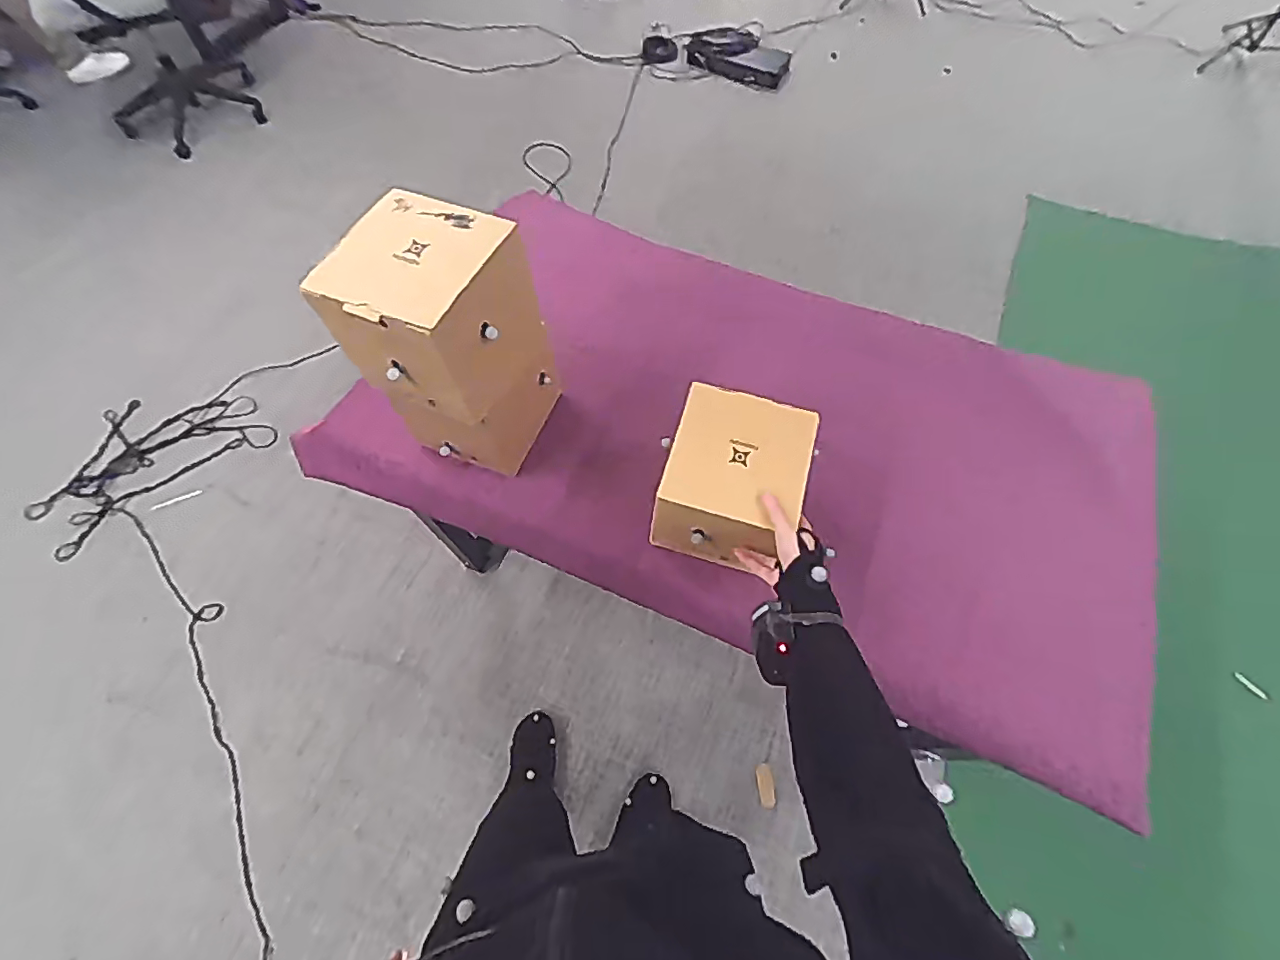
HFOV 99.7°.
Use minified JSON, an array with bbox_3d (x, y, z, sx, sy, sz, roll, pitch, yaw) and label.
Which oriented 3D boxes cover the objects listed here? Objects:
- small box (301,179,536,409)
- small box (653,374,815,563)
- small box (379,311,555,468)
[{"bbox_3d":[-0.241,-0.213,0.645,0.168,0.176,0.179,21,66,10],"label":"small box"},{"bbox_3d":[0.117,-0.006,0.720,0.168,0.176,0.179,15,64,6],"label":"small box"},{"bbox_3d":[-0.237,-0.148,0.796,0.168,0.176,0.179,19,65,10],"label":"small box"}]
